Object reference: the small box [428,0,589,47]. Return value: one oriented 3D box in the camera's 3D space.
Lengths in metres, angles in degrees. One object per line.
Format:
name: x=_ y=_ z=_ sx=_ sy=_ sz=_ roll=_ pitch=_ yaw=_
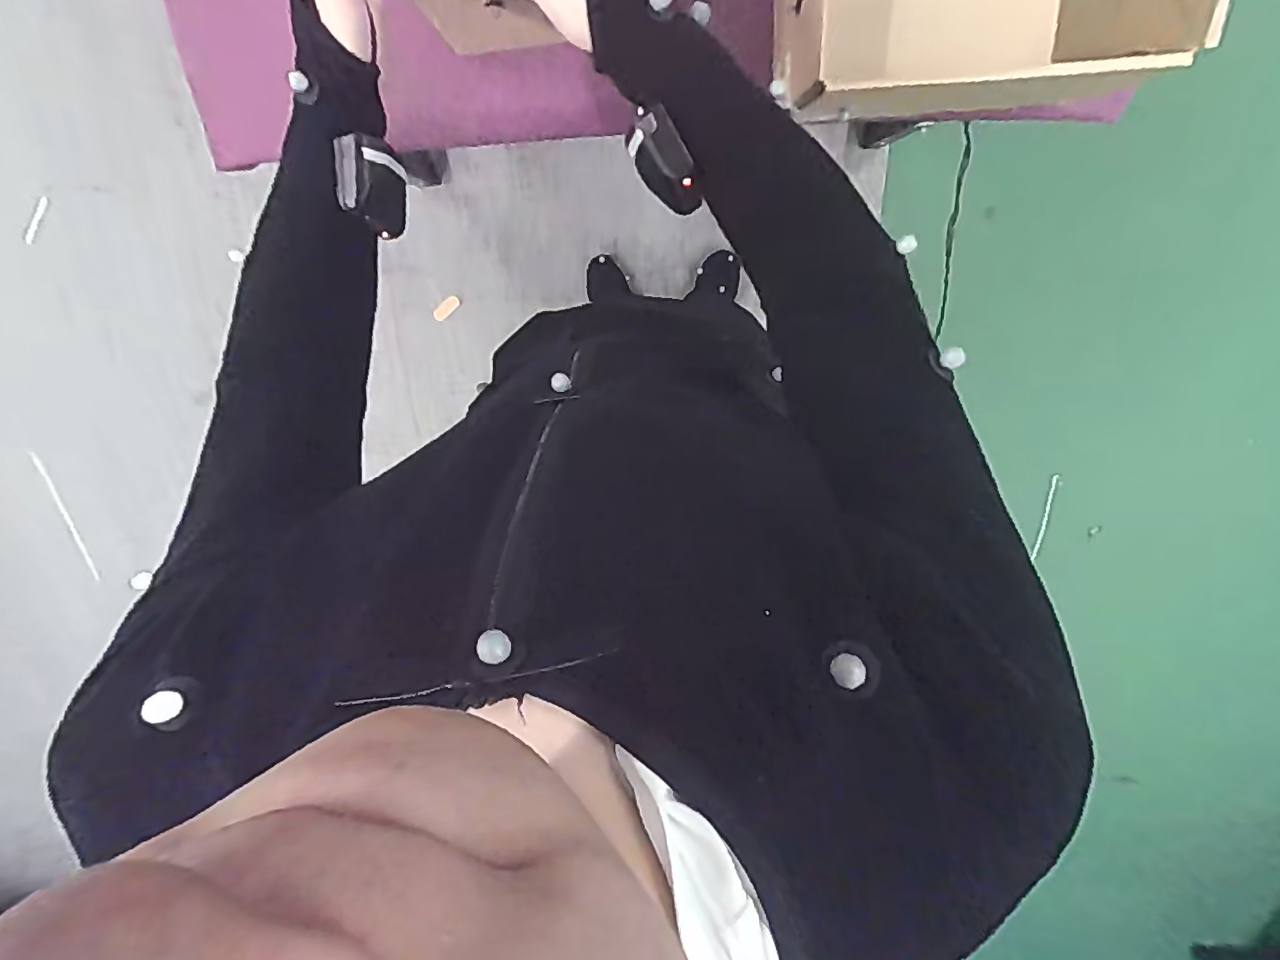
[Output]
small box: x=-0.156 y=-0.598 z=0.578 sx=0.179 sy=0.176 sz=0.168 roll=-6 pitch=112 yaw=1
